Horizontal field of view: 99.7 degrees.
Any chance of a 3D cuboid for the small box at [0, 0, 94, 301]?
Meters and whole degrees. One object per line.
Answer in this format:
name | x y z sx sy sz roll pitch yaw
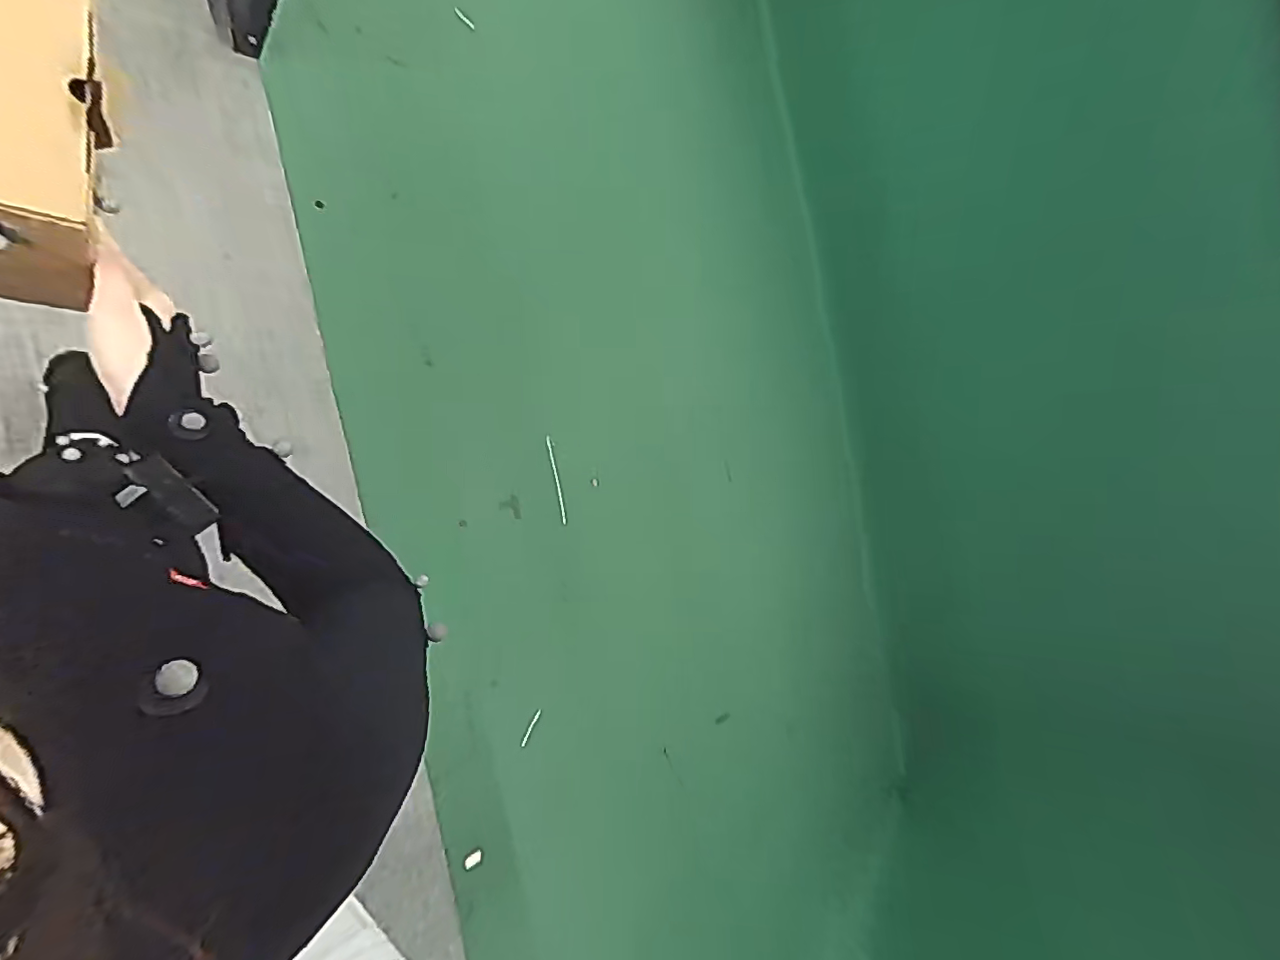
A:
small box | -0.446 -0.224 0.316 0.179 0.176 0.168 0 84 -45
